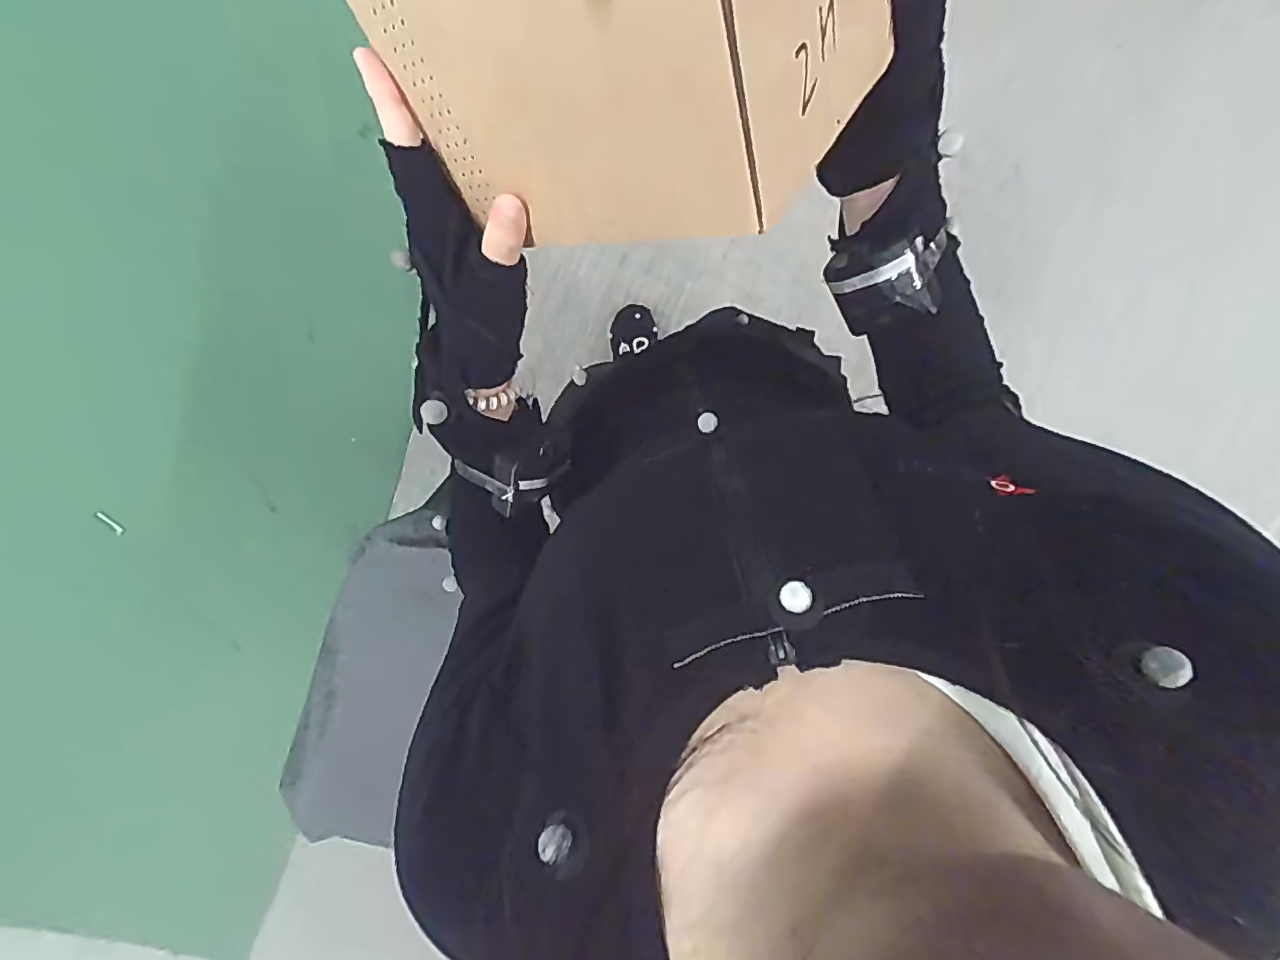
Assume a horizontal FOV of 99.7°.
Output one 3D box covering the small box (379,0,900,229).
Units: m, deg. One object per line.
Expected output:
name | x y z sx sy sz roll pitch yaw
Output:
small box | -0.003 -0.227 0.224 0.168 0.176 0.179 -56 142 -26
